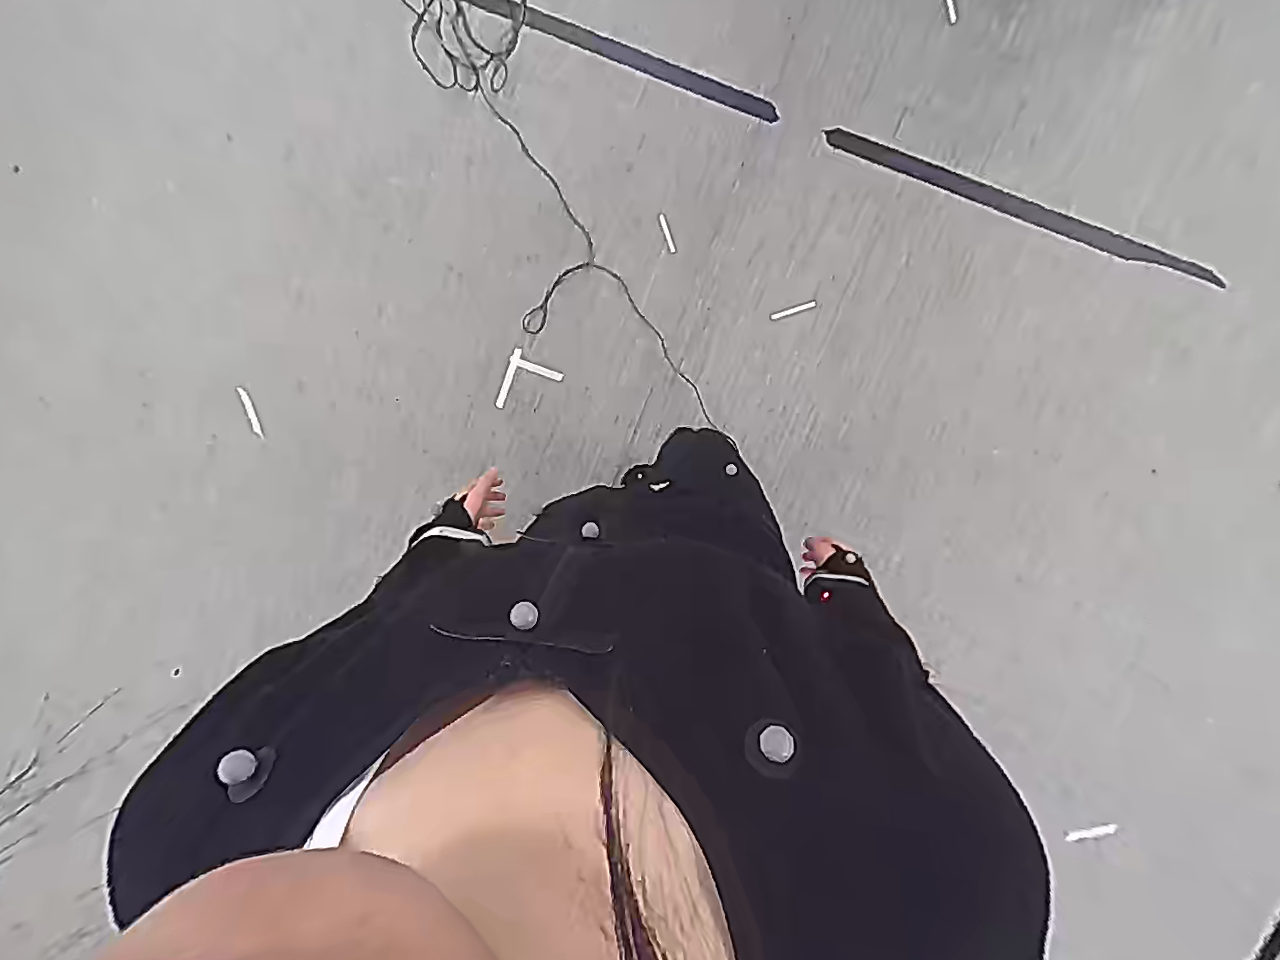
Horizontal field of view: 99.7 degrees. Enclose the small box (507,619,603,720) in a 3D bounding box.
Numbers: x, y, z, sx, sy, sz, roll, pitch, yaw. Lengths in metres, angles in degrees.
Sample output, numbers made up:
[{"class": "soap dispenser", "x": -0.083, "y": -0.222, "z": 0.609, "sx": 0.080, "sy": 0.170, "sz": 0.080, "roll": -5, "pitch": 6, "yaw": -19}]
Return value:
[{"class": "small box", "x": -0.178, "y": 0.377, "z": 0.970, "sx": 0.168, "sy": 0.176, "sz": 0.179, "roll": 28, "pitch": 94, "yaw": 4}]
